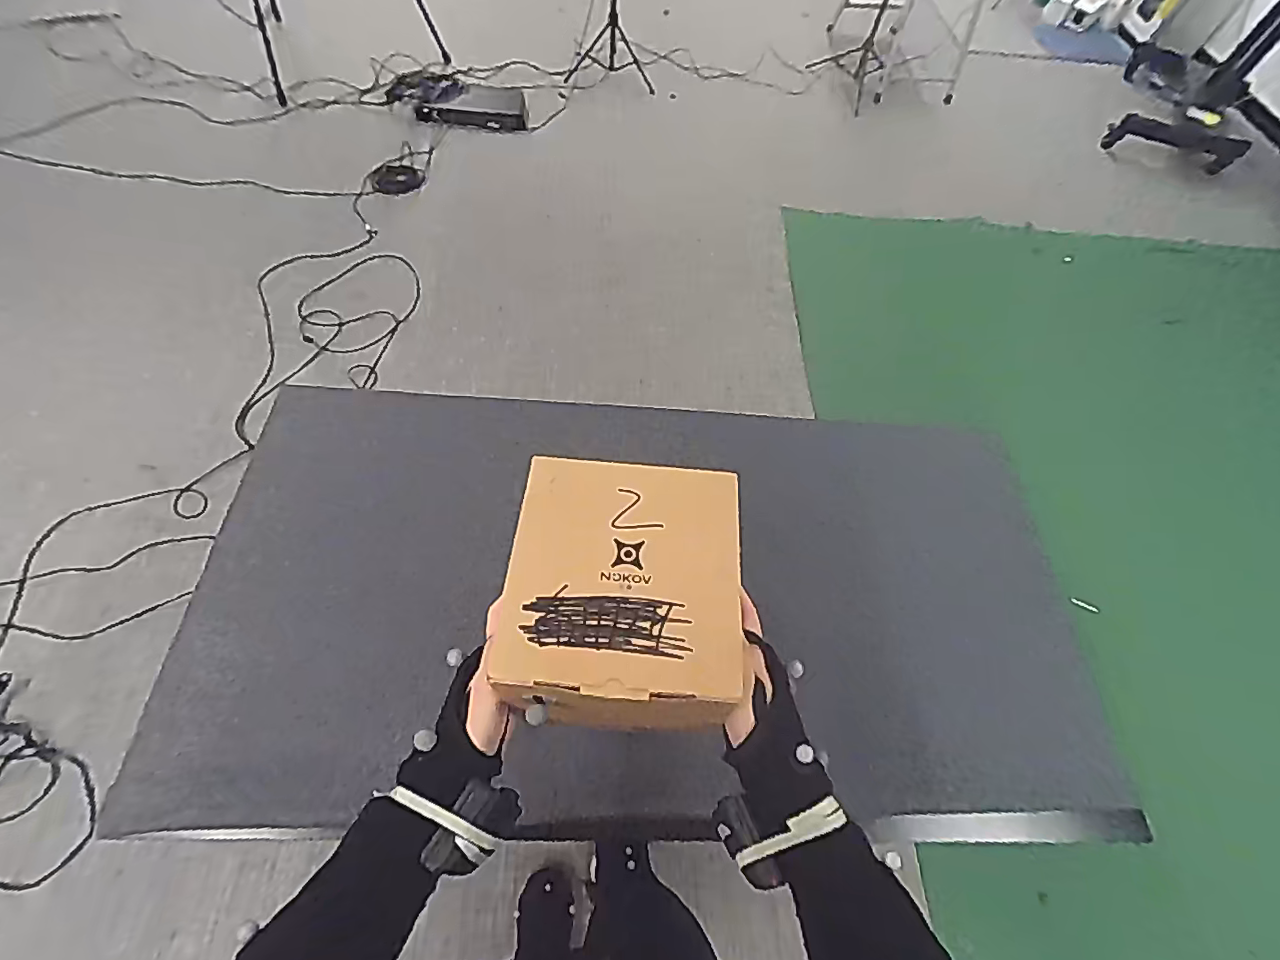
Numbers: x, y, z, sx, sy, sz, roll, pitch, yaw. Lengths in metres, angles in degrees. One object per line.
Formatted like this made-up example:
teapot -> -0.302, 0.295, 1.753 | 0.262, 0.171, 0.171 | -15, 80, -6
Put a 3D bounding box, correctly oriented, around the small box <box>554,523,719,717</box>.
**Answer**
small box -> -0.005, 0.172, 0.643 | 0.168, 0.176, 0.179 | 6, 61, -2
